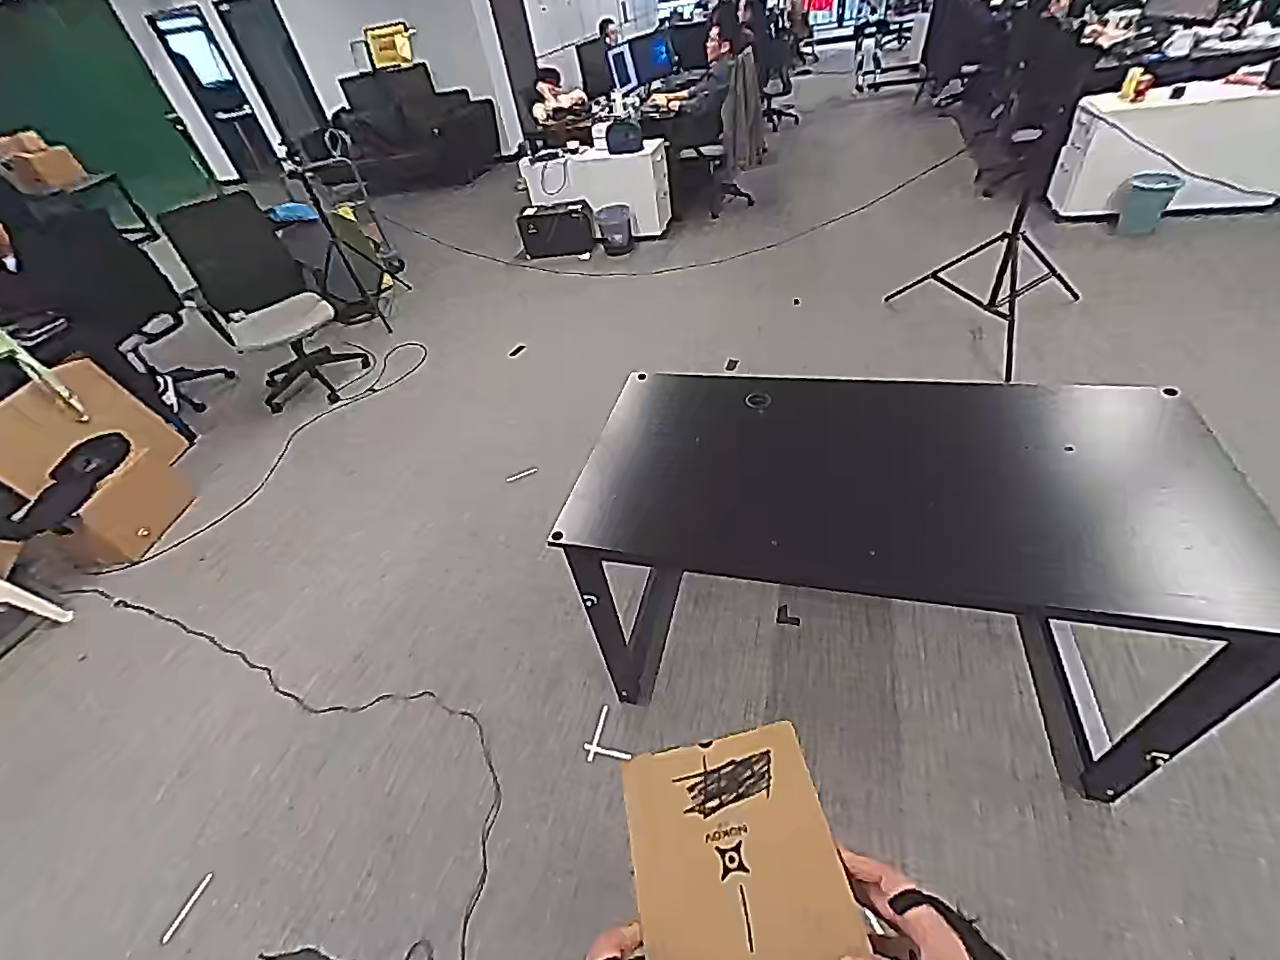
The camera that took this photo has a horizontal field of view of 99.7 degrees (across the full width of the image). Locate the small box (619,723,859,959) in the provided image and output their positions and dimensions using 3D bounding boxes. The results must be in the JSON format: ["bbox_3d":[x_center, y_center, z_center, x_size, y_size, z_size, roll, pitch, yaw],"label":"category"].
[{"bbox_3d":[0.081,0.361,0.505,0.168,0.176,0.179,-13,43,1],"label":"small box"}]
